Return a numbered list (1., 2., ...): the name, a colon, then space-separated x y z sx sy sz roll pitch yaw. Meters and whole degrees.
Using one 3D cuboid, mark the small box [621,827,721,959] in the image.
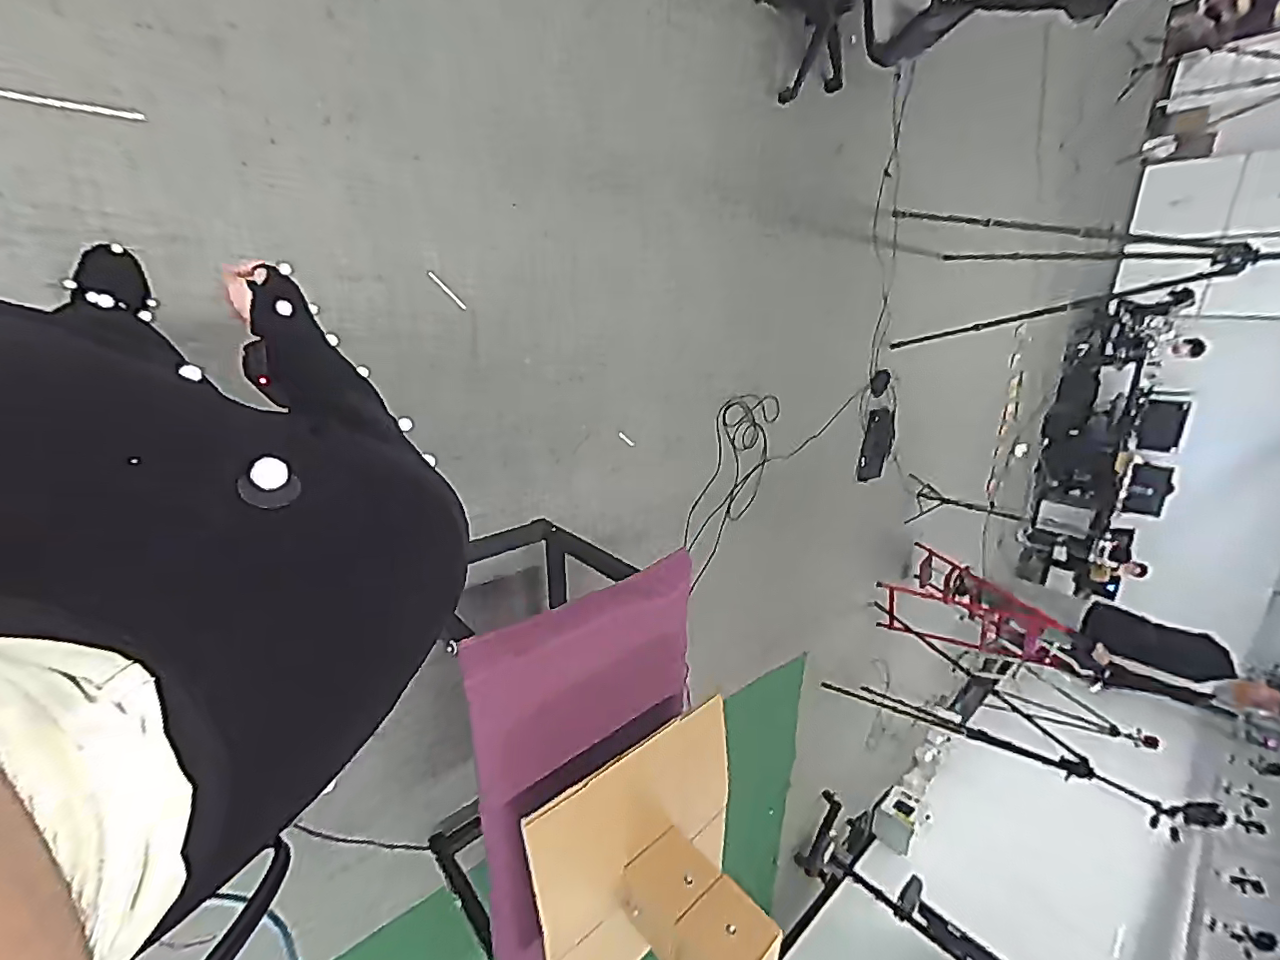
1. small box: 0.074 1.010 1.331 0.179 0.176 0.168 -15 115 -39
